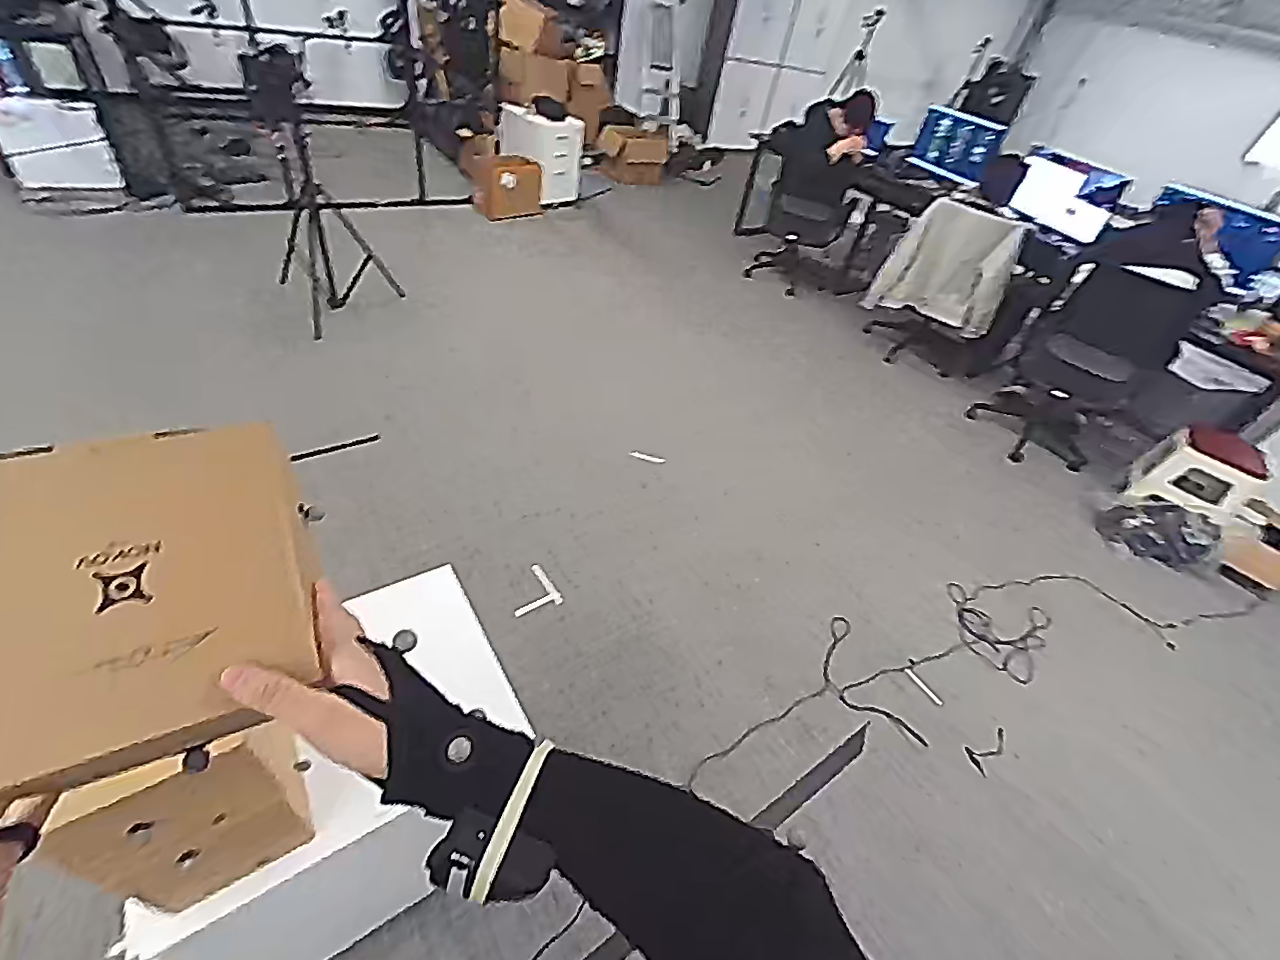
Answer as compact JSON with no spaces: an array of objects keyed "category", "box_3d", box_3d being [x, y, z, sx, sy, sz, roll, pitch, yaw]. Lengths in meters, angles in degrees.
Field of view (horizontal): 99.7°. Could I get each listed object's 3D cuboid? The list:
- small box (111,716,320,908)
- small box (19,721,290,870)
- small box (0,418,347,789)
[{"category":"small box","box_3d":[-0.534,0.397,0.695,0.168,0.176,0.179,-19,50,-30]},{"category":"small box","box_3d":[-0.505,0.281,0.584,0.168,0.176,0.179,-20,52,-31]},{"category":"small box","box_3d":[-0.308,0.083,0.361,0.168,0.176,0.179,-14,74,-27]}]
